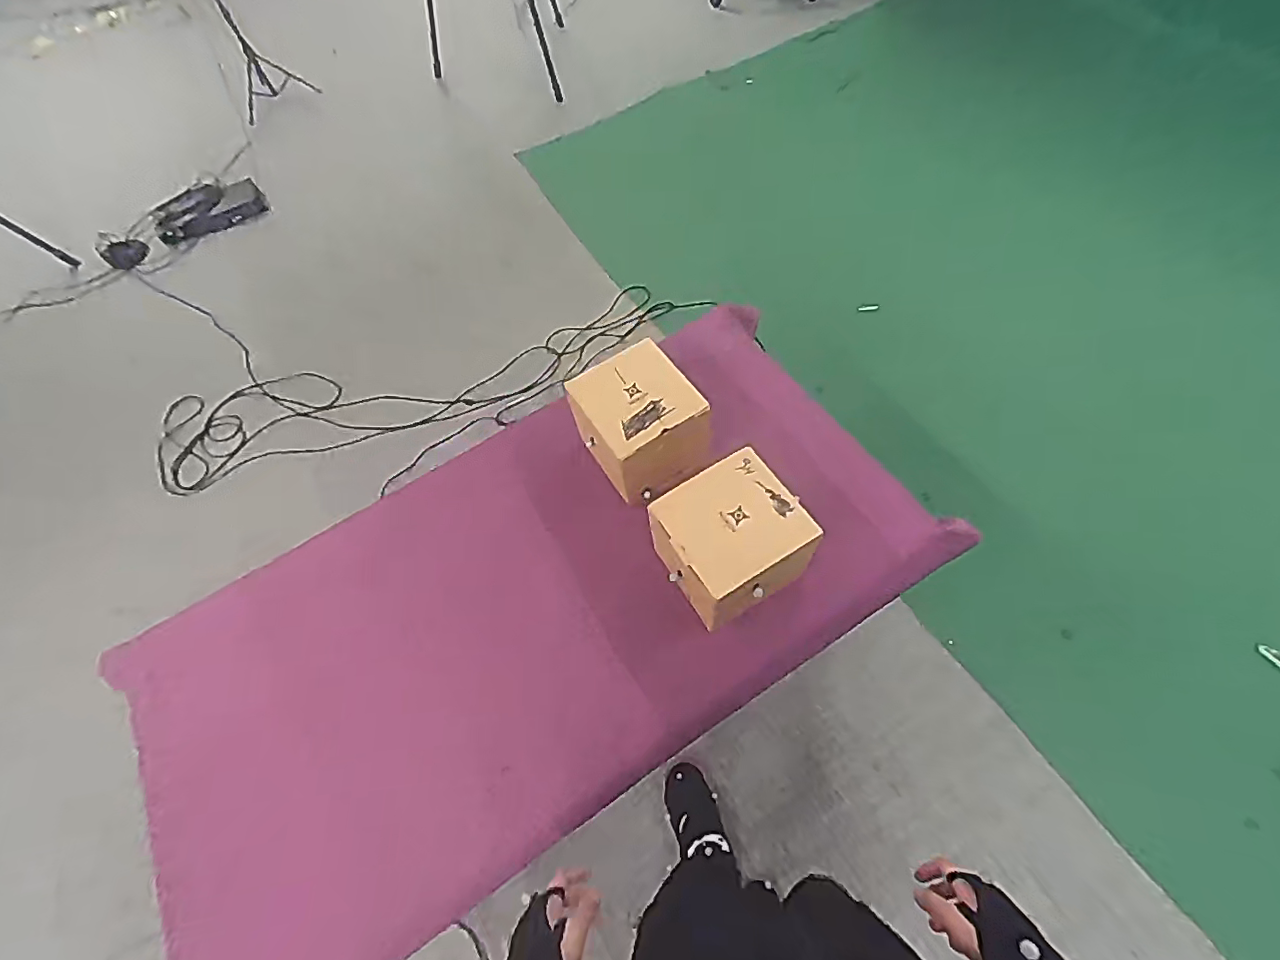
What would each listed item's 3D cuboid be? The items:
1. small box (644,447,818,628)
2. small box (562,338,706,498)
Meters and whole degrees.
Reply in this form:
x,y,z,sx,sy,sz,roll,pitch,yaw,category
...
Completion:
x,y,z,sx,sy,sz,roll,pitch,yaw,category
0.128,0.090,0.784,0.179,0.176,0.168,-30,62,-9,small box
-0.003,-0.092,0.896,0.168,0.176,0.179,-31,63,-11,small box
